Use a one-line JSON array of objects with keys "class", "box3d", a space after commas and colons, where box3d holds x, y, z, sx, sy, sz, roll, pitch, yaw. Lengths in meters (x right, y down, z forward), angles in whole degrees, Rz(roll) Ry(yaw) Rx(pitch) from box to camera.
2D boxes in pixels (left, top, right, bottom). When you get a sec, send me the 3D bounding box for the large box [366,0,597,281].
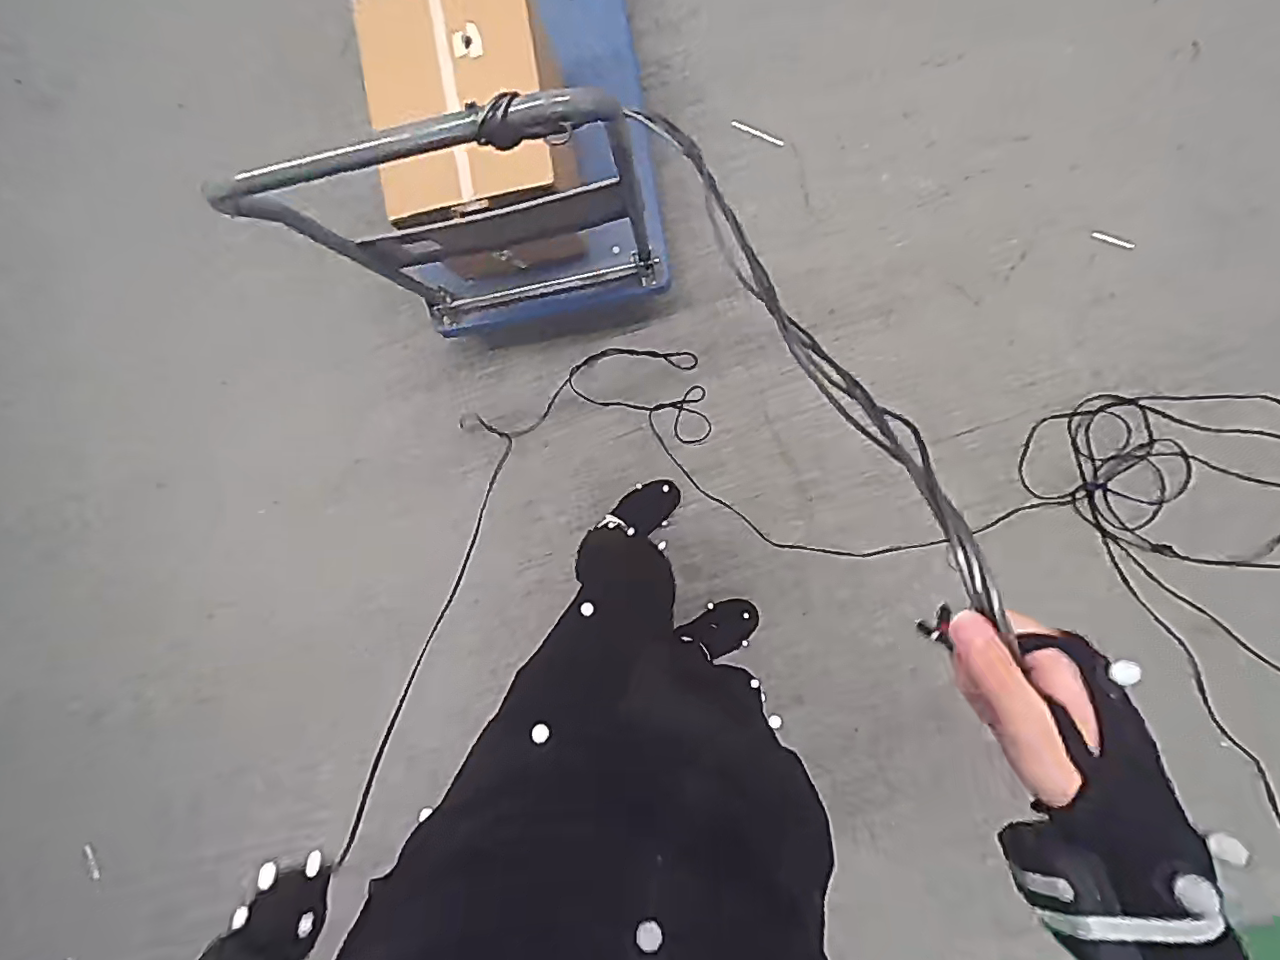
[{"class": "large box", "box3d": [-0.296, -0.682, 1.107, 0.320, 0.320, 0.408, -9, 90, 6]}]
